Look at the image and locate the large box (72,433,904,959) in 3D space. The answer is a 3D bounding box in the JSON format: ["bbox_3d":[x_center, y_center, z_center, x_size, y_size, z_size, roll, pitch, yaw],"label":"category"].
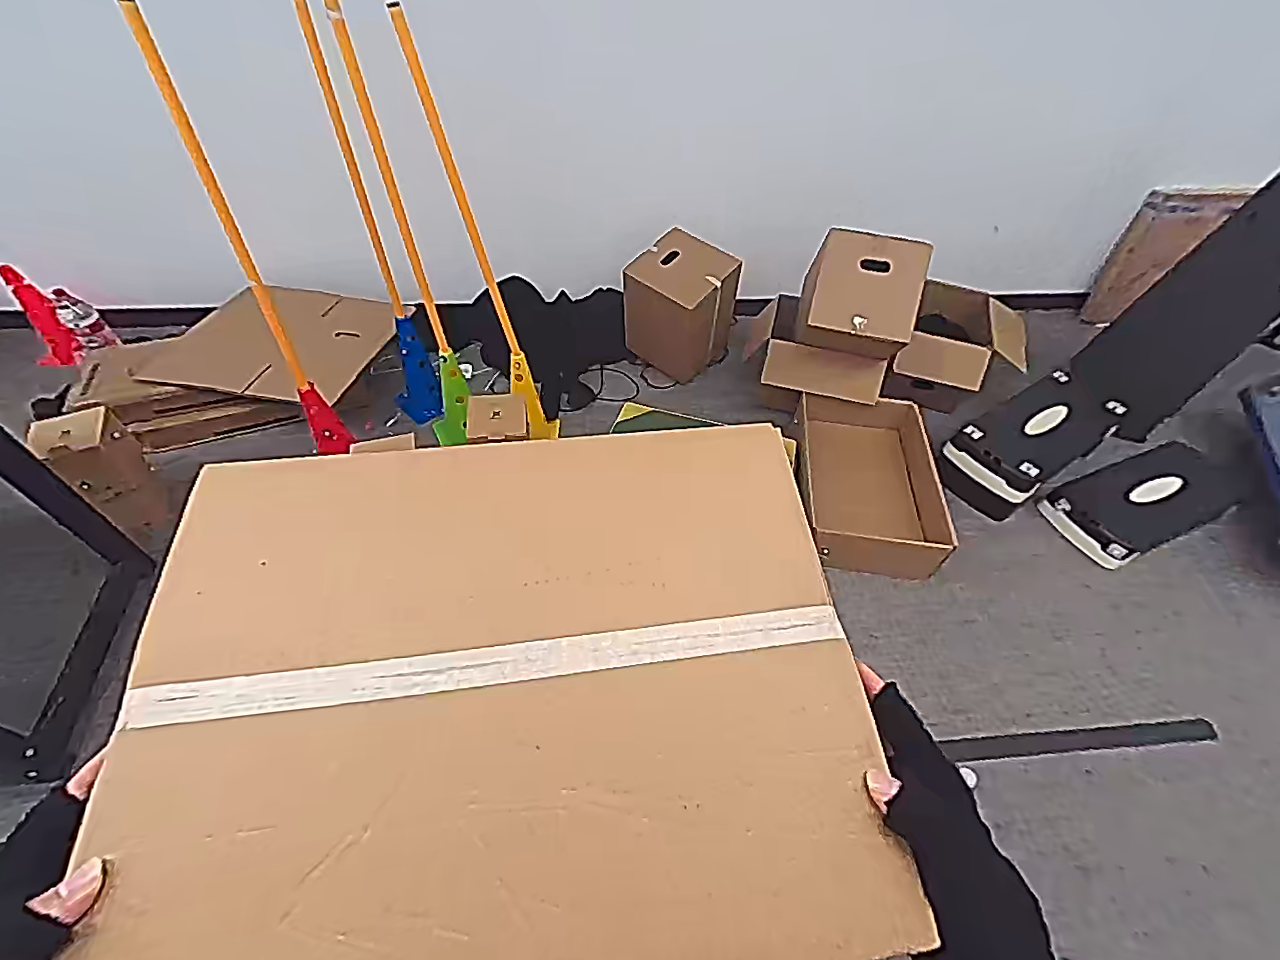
[{"bbox_3d":[-0.086,0.187,0.451,0.408,0.320,0.320,-5,60,-6],"label":"large box"}]
